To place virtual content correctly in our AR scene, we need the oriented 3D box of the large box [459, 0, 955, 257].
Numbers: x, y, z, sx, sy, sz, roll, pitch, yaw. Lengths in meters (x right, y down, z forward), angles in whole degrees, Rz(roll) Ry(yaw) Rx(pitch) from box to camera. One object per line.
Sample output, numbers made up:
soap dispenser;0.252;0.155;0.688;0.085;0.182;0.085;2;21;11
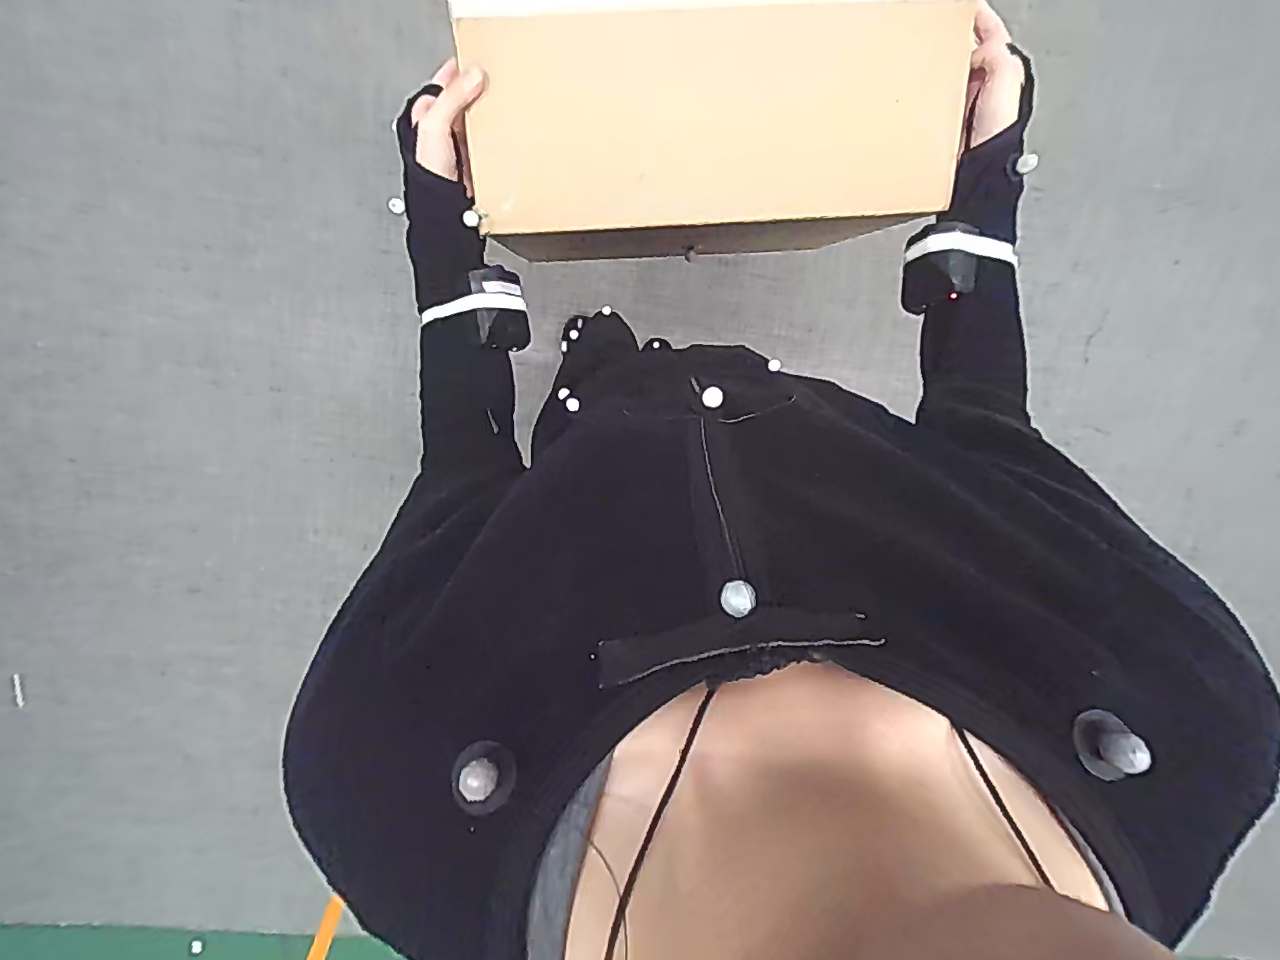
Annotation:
large box;0.051;-0.422;0.569;0.408;0.320;0.320;-4;107;-2
